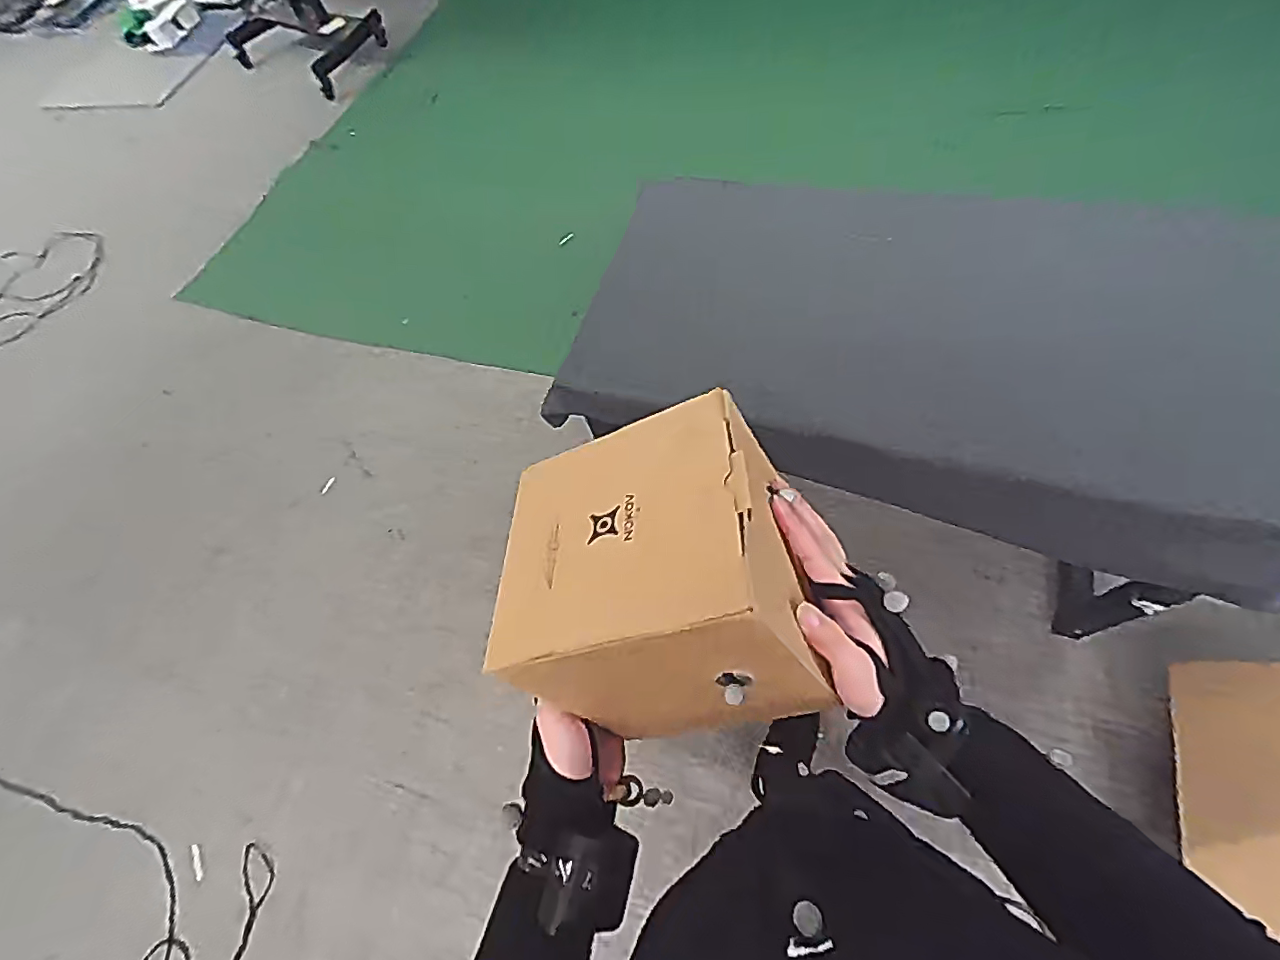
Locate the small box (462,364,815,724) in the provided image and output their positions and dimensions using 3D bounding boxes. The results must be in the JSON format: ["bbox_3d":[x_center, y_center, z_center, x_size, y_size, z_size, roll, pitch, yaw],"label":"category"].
[{"bbox_3d":[0.011,0.058,0.385,0.179,0.176,0.168,-21,44,23],"label":"small box"}]
